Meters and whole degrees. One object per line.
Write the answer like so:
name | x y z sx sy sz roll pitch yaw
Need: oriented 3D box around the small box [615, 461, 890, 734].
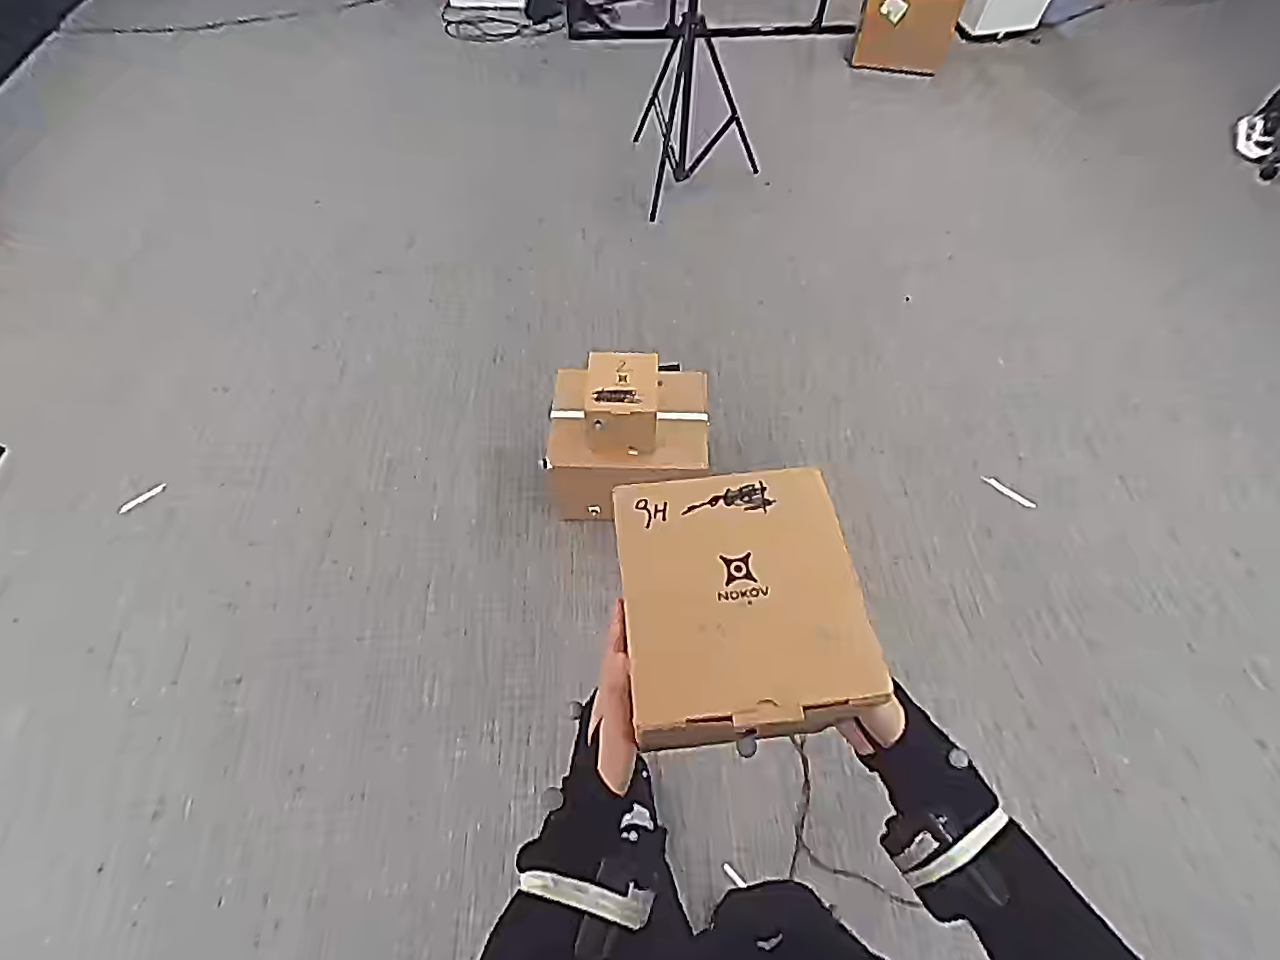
small box | 0.070 0.106 0.446 0.168 0.176 0.179 -5 60 -4
